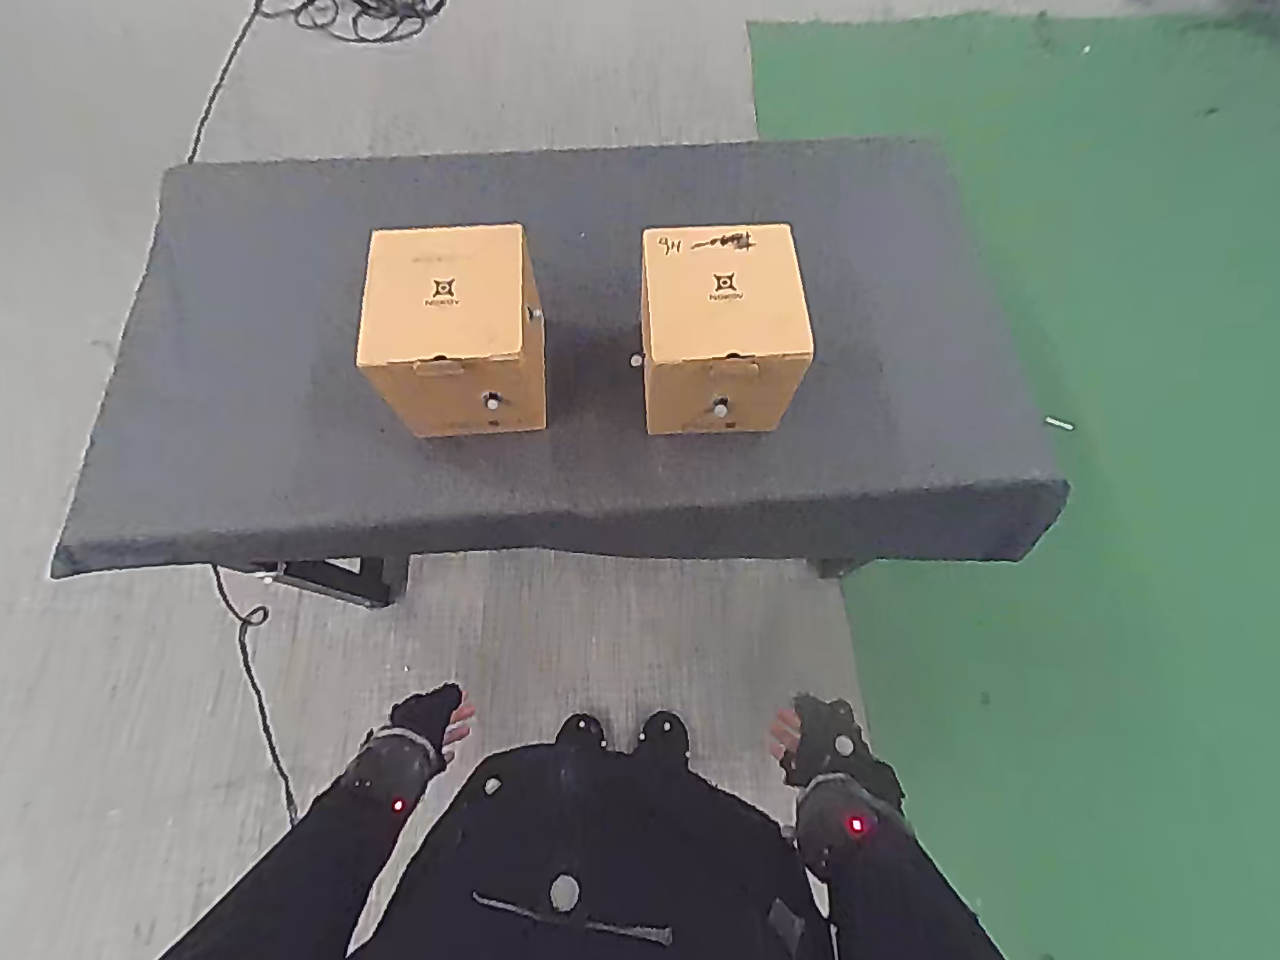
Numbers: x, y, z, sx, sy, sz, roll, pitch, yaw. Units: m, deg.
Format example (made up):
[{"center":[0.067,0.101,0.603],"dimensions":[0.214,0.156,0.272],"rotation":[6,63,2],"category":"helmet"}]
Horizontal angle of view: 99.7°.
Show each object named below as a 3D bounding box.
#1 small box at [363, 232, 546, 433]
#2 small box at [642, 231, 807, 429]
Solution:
[{"center":[-0.207,-0.165,0.652],"dimensions":[0.168,0.176,0.179],"rotation":[-4,68,-4],"category":"small box"},{"center":[0.088,-0.168,0.655],"dimensions":[0.168,0.176,0.179],"rotation":[-2,69,-2],"category":"small box"}]
